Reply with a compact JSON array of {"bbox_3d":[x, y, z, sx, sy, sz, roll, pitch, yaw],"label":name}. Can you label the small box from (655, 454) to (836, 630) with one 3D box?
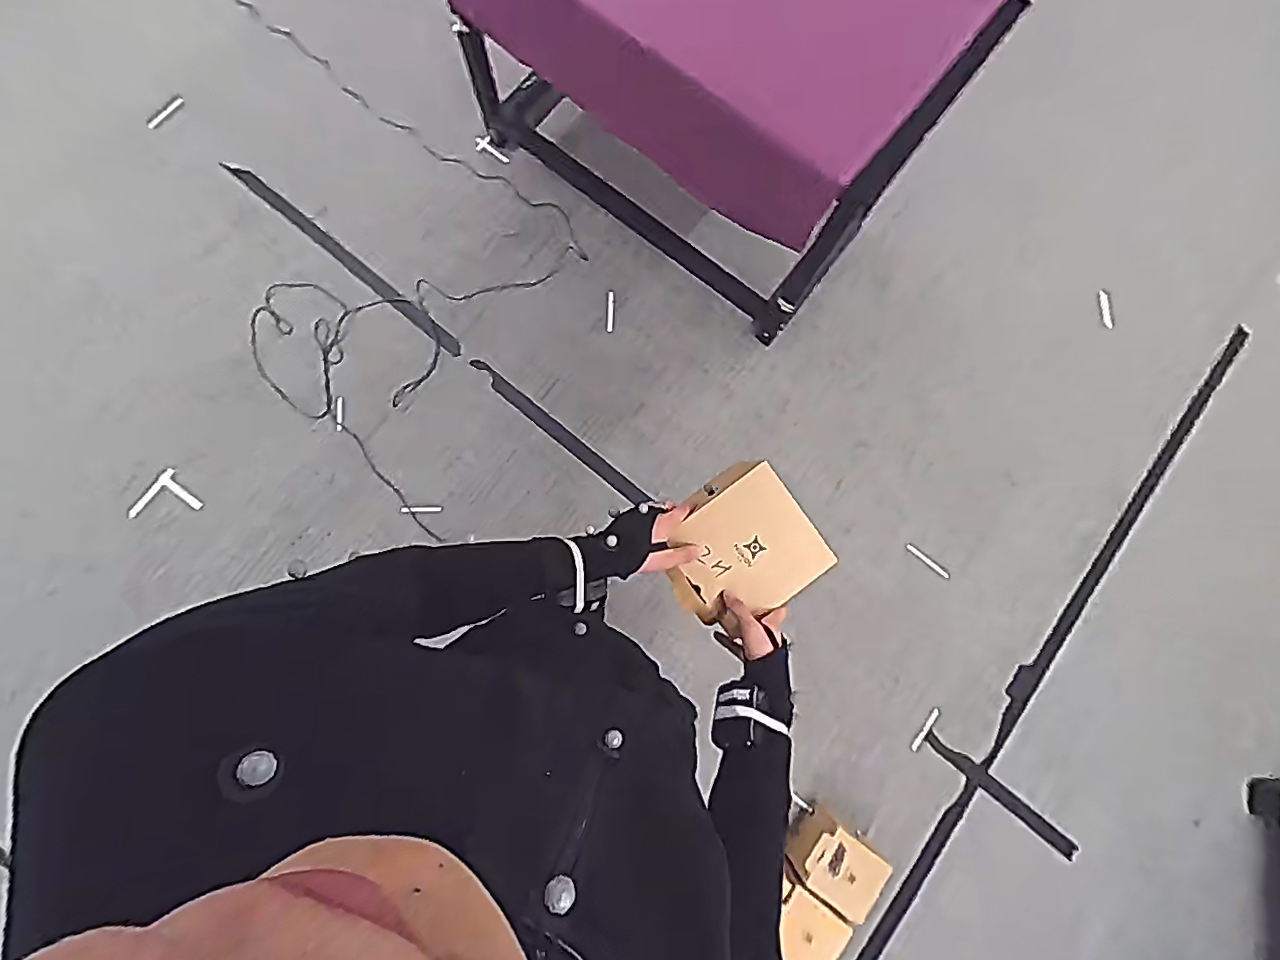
[{"bbox_3d":[0.136,0.077,0.774,0.179,0.176,0.168,-37,92,-1],"label":"small box"}]
